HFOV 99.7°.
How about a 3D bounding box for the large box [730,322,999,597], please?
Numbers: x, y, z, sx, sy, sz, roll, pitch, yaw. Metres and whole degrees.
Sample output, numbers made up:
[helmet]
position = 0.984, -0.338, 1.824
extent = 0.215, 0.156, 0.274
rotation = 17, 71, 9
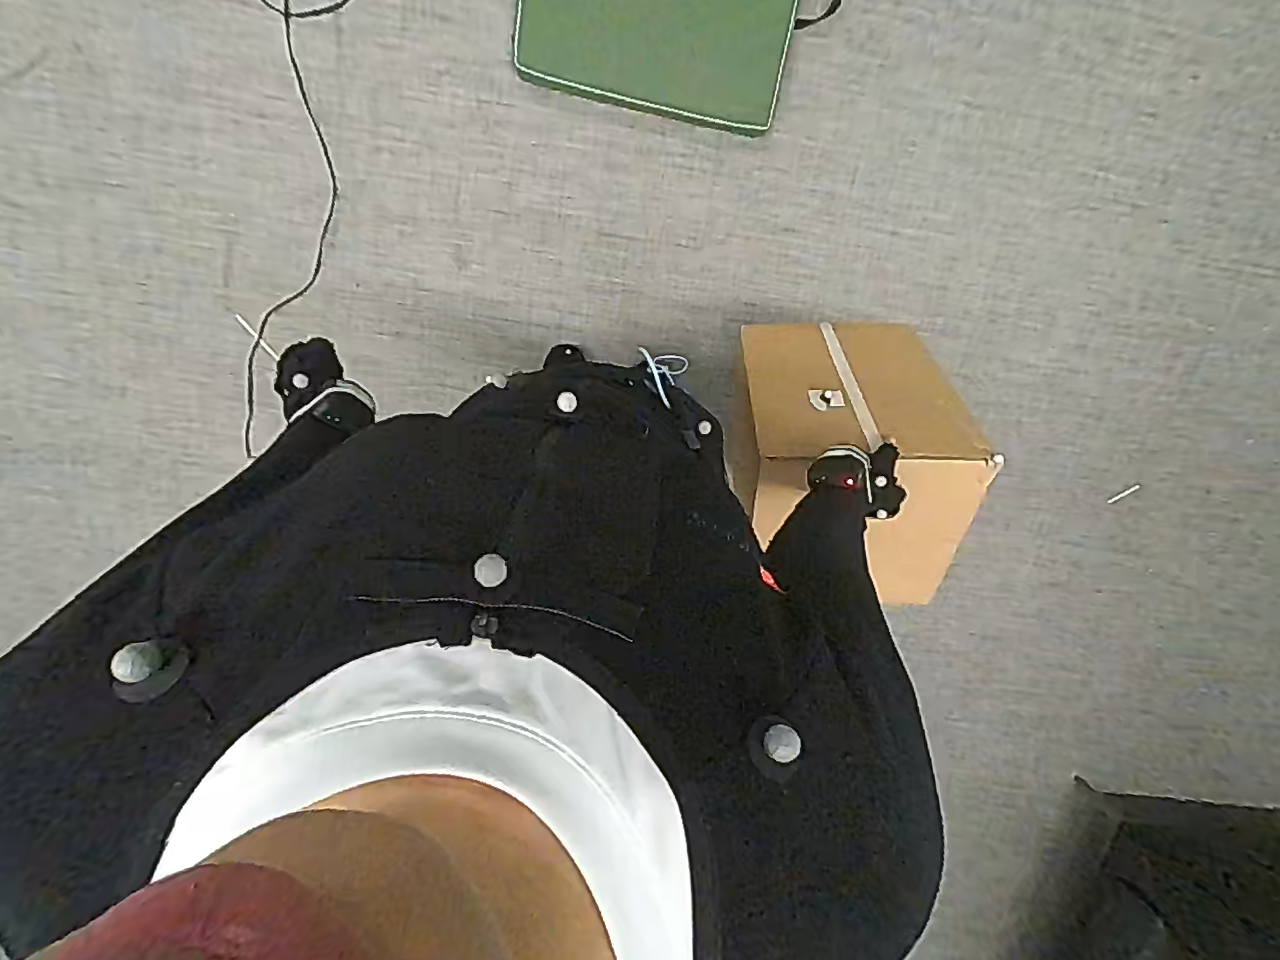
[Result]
[large box]
position = 0.339, -0.048, 0.967
extent = 0.320, 0.408, 0.320
rotation = 1, 132, 5
